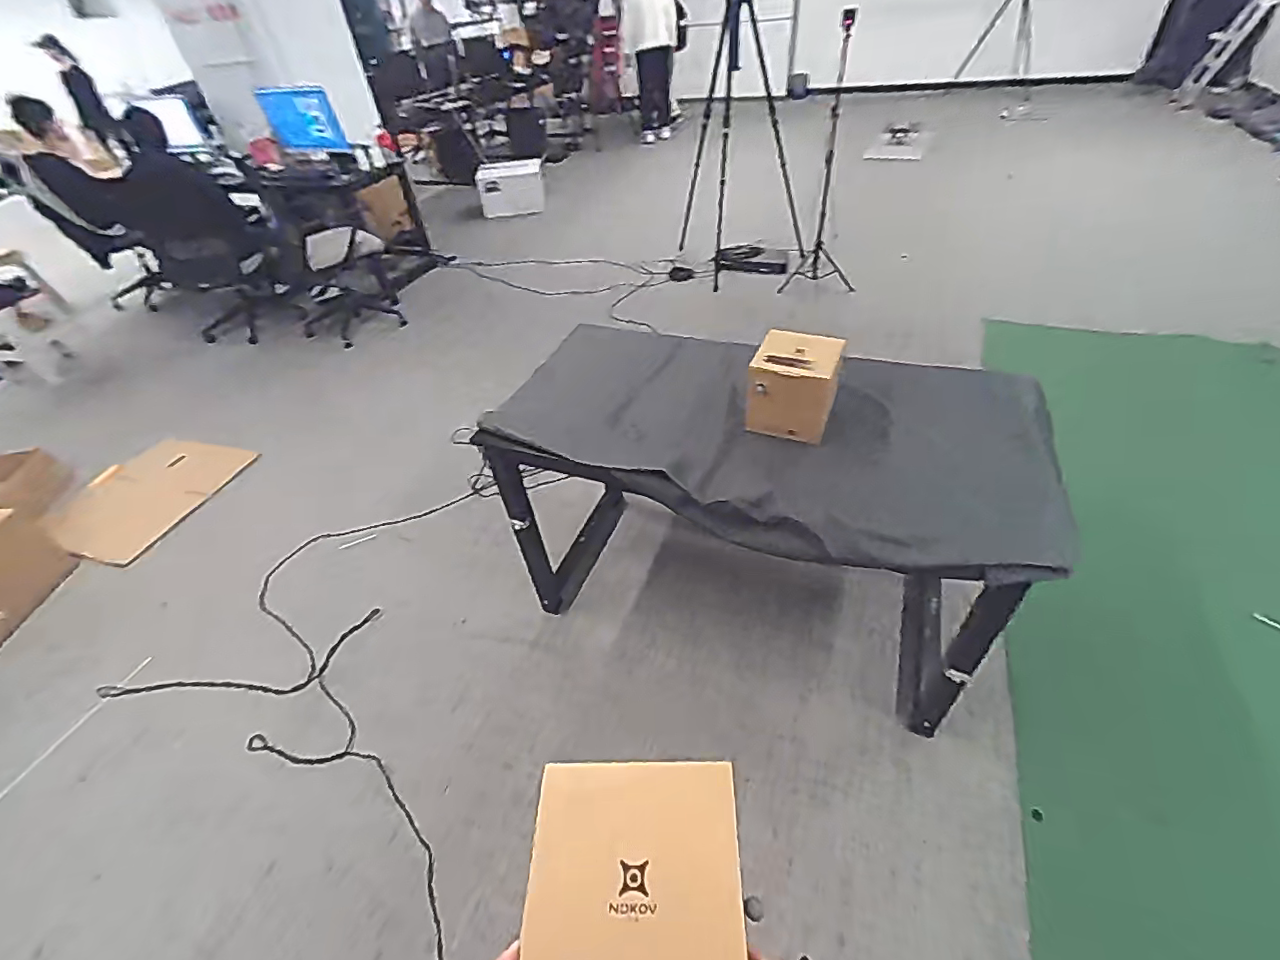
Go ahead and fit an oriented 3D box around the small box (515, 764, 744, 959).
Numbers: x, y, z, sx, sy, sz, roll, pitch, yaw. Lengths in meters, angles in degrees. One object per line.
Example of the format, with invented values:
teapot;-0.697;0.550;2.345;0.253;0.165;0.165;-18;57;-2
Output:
small box;0.001;0.365;0.466;0.168;0.176;0.179;-4;47;6
